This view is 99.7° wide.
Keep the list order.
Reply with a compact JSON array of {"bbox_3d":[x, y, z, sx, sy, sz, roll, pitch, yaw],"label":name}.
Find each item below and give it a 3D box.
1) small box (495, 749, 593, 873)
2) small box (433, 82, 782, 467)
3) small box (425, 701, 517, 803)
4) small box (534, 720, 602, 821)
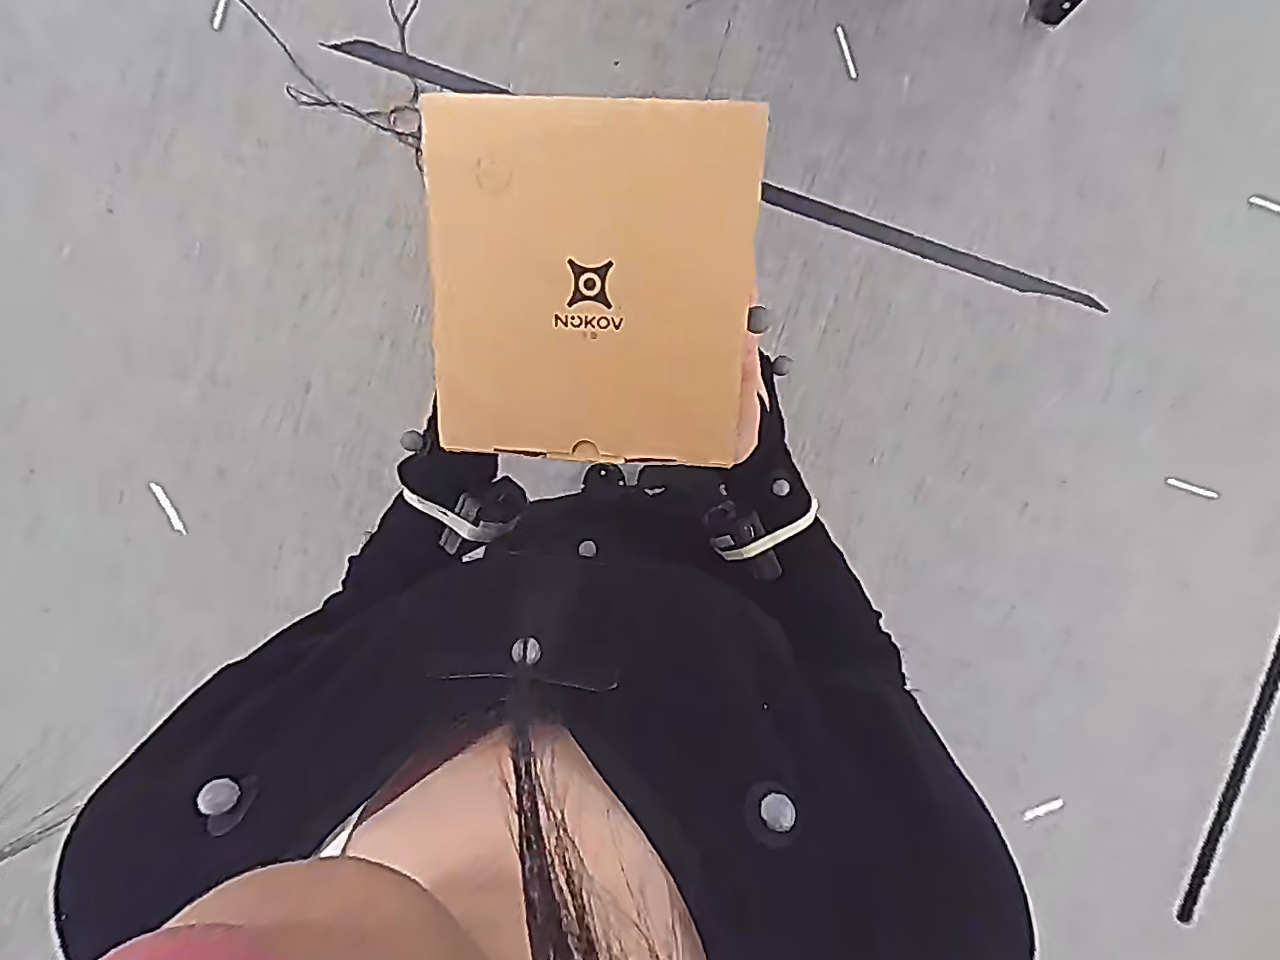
[{"bbox_3d":[-0.215,0.759,1.259,0.179,0.176,0.168,15,93,-3],"label":"small box"},{"bbox_3d":[-0.017,-0.117,0.348,0.168,0.176,0.179,4,107,3],"label":"small box"},{"bbox_3d":[-0.437,0.704,1.417,0.179,0.176,0.168,11,93,-3],"label":"small box"},{"bbox_3d":[-0.198,0.757,1.425,0.179,0.176,0.168,11,92,-3],"label":"small box"}]
